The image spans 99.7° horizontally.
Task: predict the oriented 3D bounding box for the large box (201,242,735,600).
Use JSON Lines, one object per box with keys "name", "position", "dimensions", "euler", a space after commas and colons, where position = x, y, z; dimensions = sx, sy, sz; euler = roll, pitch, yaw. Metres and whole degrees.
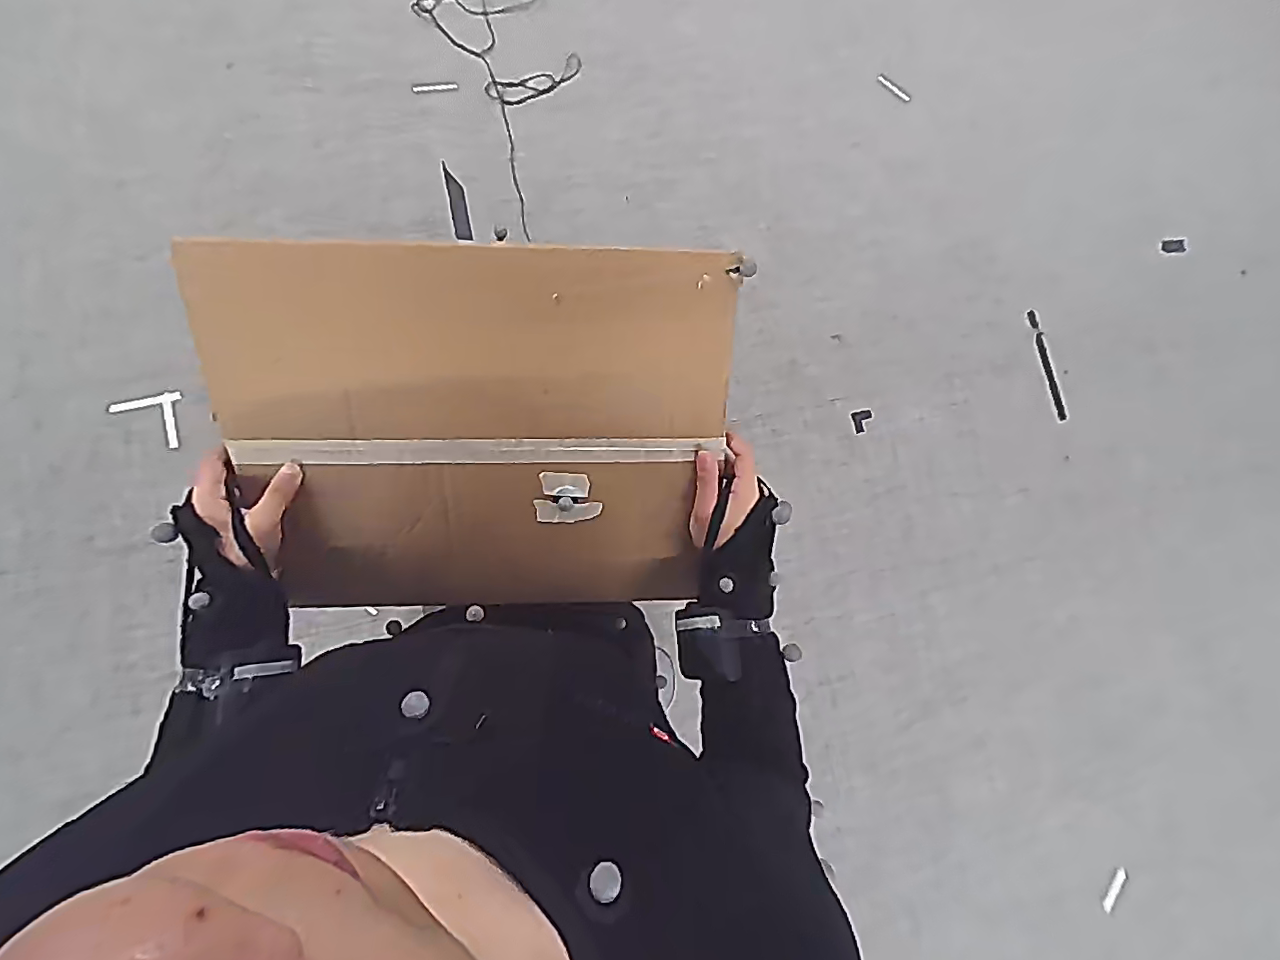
{"name": "large box", "position": [-0.138, -0.092, 0.601], "dimensions": [0.408, 0.320, 0.320], "euler": [-1, 115, -5]}
